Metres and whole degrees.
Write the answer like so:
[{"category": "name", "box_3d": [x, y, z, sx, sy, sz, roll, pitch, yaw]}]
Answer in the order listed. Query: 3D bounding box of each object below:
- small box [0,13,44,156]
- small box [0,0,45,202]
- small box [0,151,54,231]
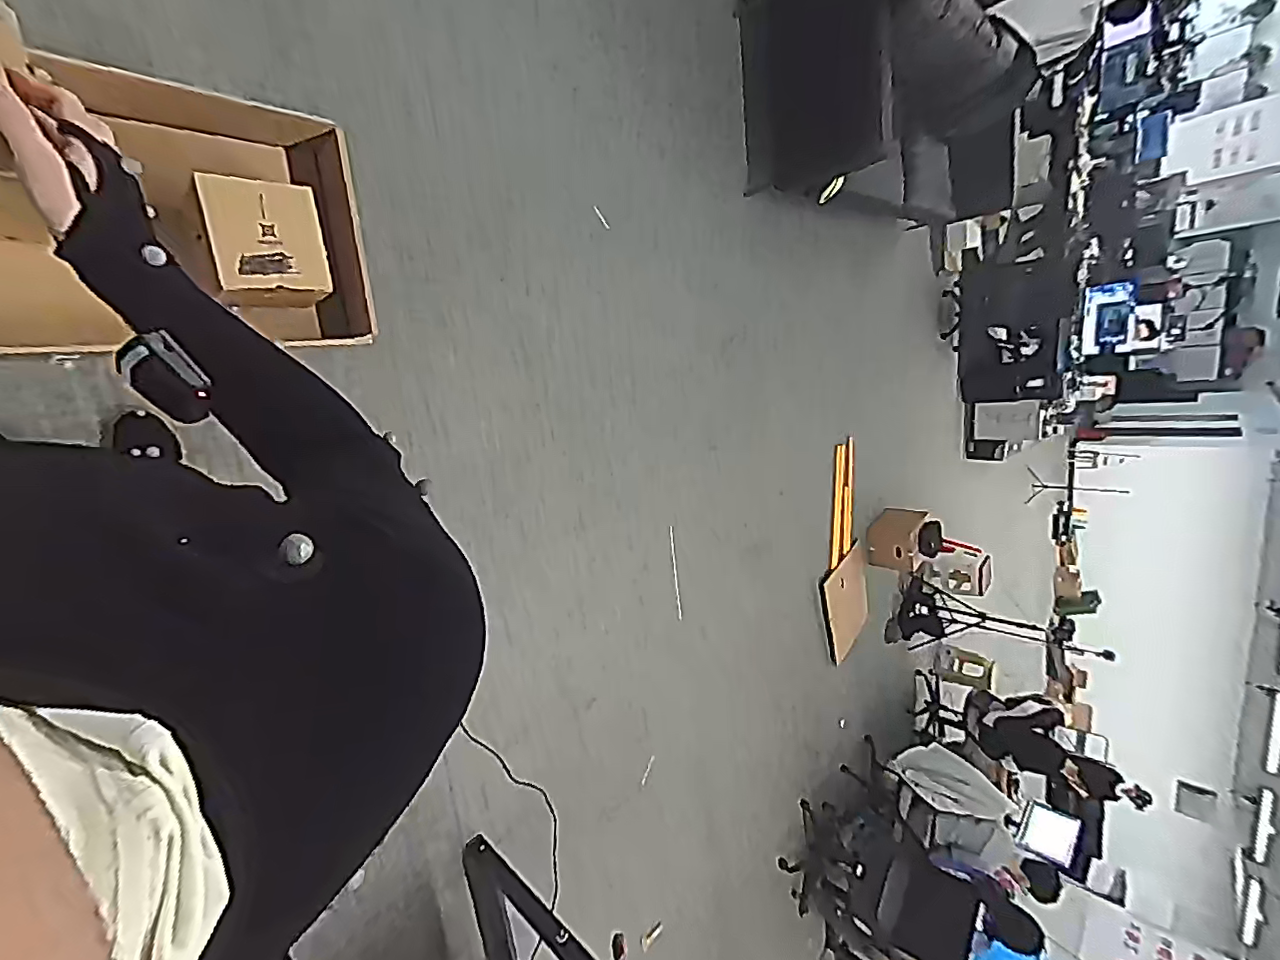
[{"category": "small box", "box_3d": [-0.560, -0.340, 0.360, 0.168, 0.176, 0.179, -19, 115, -34]}, {"category": "small box", "box_3d": [-0.796, -0.438, 0.596, 0.168, 0.176, 0.179, -10, 102, -43]}, {"category": "small box", "box_3d": [-0.912, -0.450, 0.712, 0.168, 0.176, 0.179, -13, 104, -44]}]
